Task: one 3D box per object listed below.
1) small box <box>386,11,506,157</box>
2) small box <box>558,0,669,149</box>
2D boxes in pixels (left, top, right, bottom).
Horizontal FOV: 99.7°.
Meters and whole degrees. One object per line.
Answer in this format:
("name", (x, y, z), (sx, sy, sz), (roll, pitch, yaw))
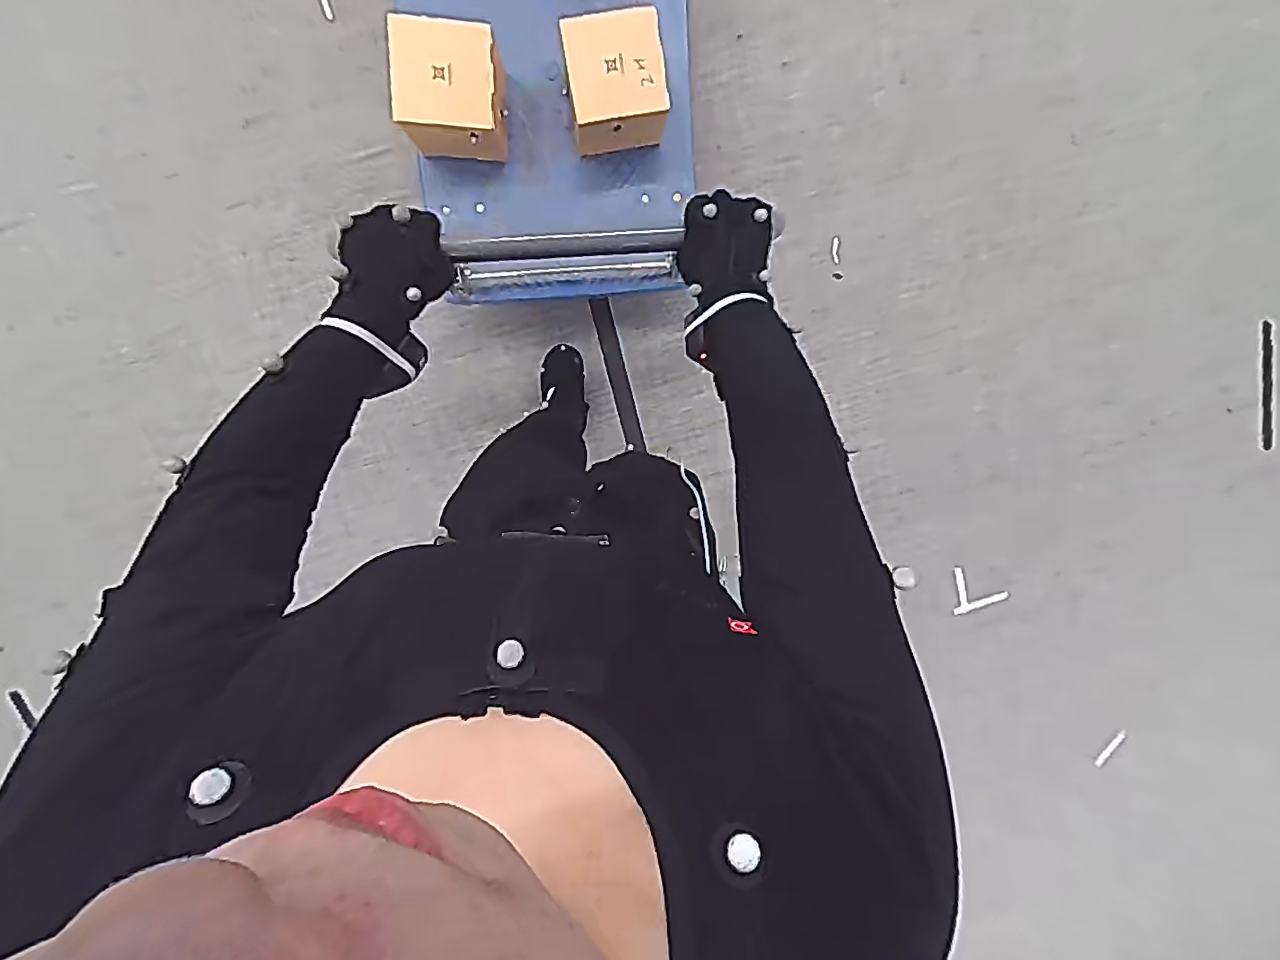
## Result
("small box", (-0.352, -0.725, 1.009), (0.179, 0.176, 0.168), (0, 103, -7))
("small box", (-0.050, -0.756, 1.028), (0.179, 0.176, 0.168), (-11, 105, -2))
